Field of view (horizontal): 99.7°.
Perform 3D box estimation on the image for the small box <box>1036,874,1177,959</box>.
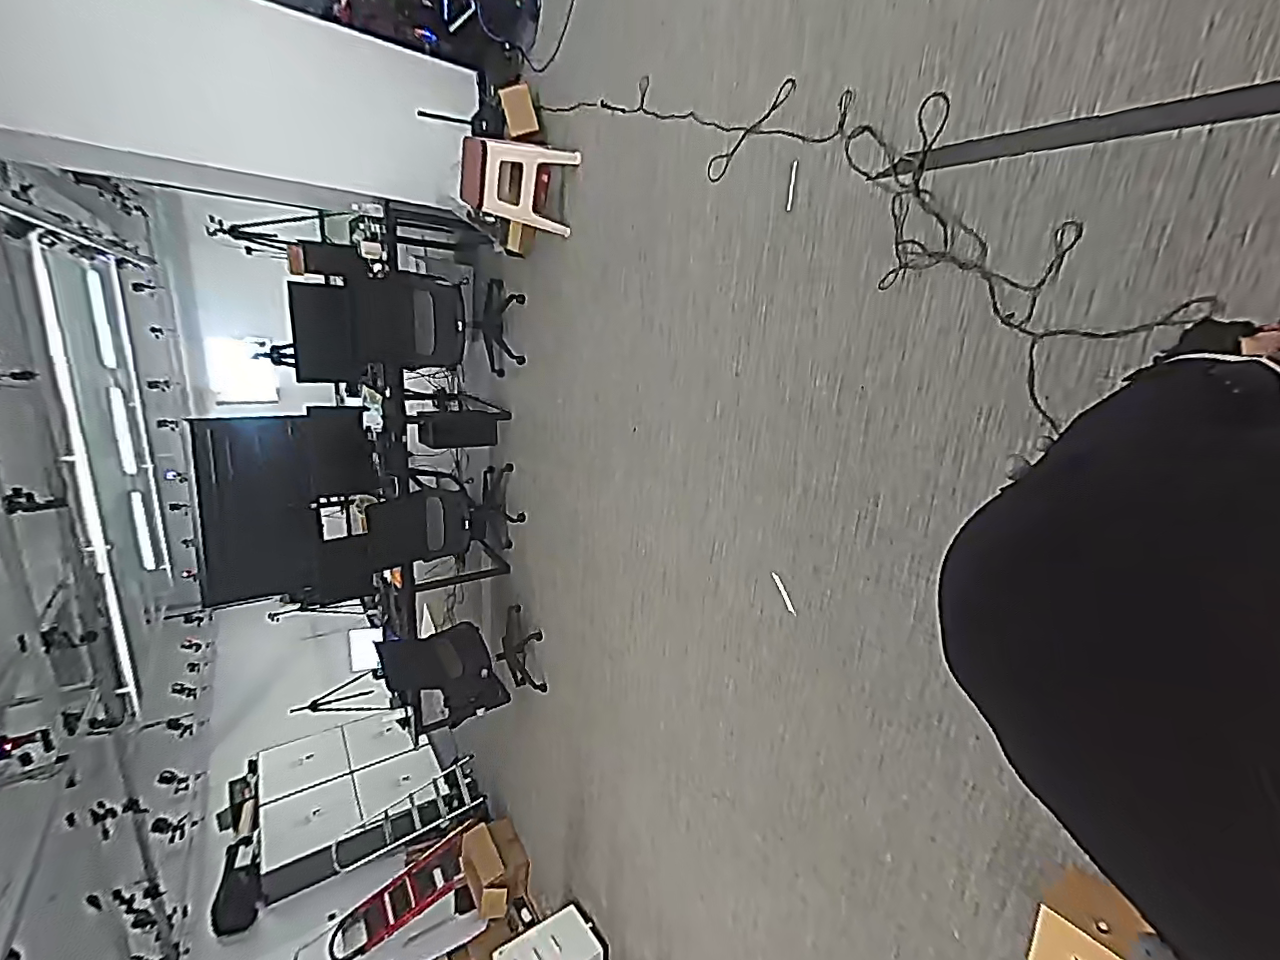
[{"bbox_3d":[0.993,0.993,1.155,0.179,0.176,0.168,18,111,53],"label":"small box"}]
